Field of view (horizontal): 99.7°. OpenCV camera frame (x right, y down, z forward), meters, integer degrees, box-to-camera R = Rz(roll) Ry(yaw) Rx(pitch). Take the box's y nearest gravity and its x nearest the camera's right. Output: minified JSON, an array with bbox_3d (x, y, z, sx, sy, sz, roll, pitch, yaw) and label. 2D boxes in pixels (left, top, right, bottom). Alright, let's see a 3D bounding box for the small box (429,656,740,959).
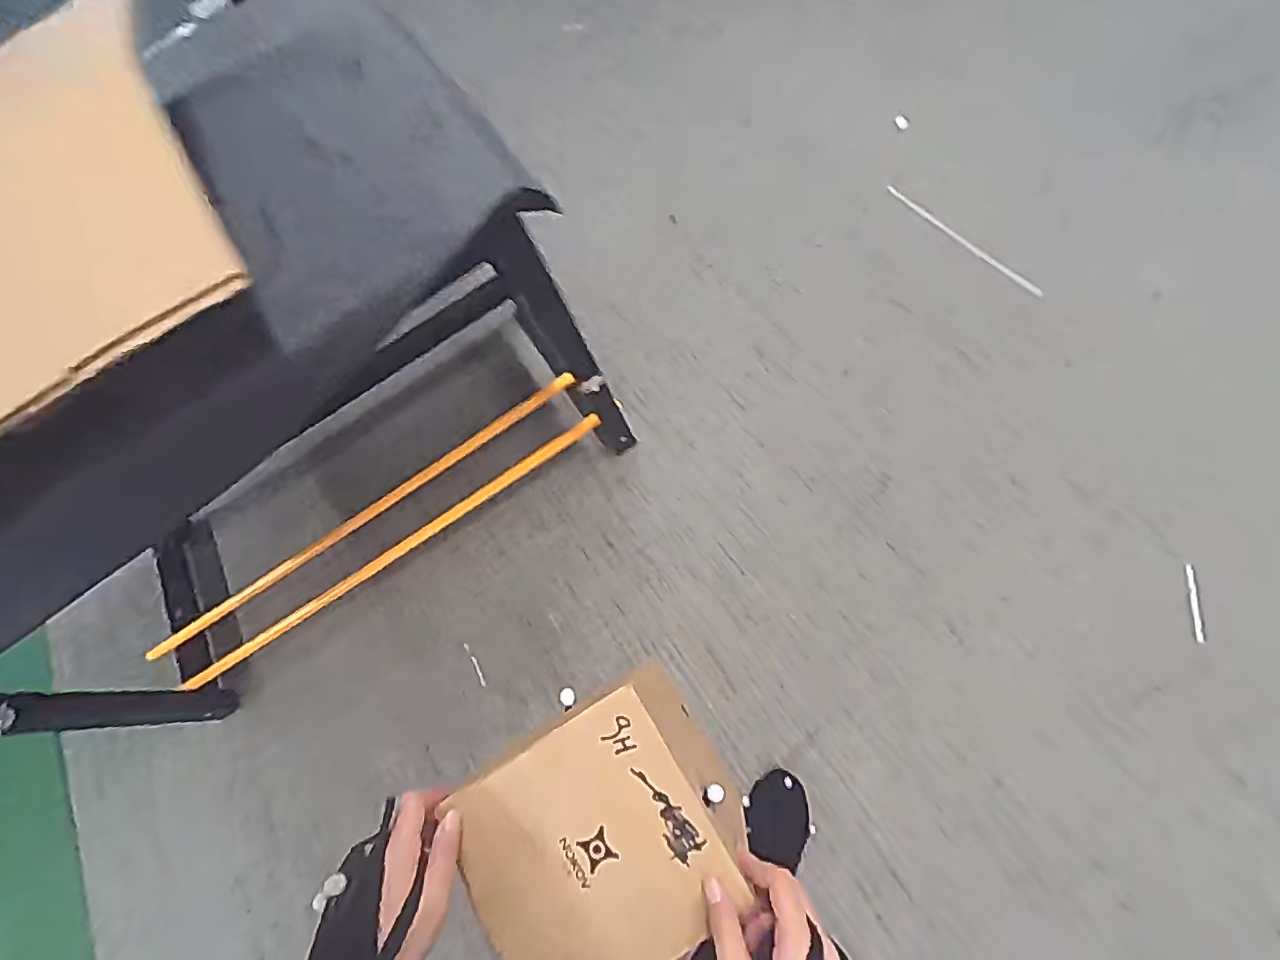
[{"bbox_3d":[-0.032,0.272,0.457,0.179,0.176,0.168,-34,77,1],"label":"small box"}]
